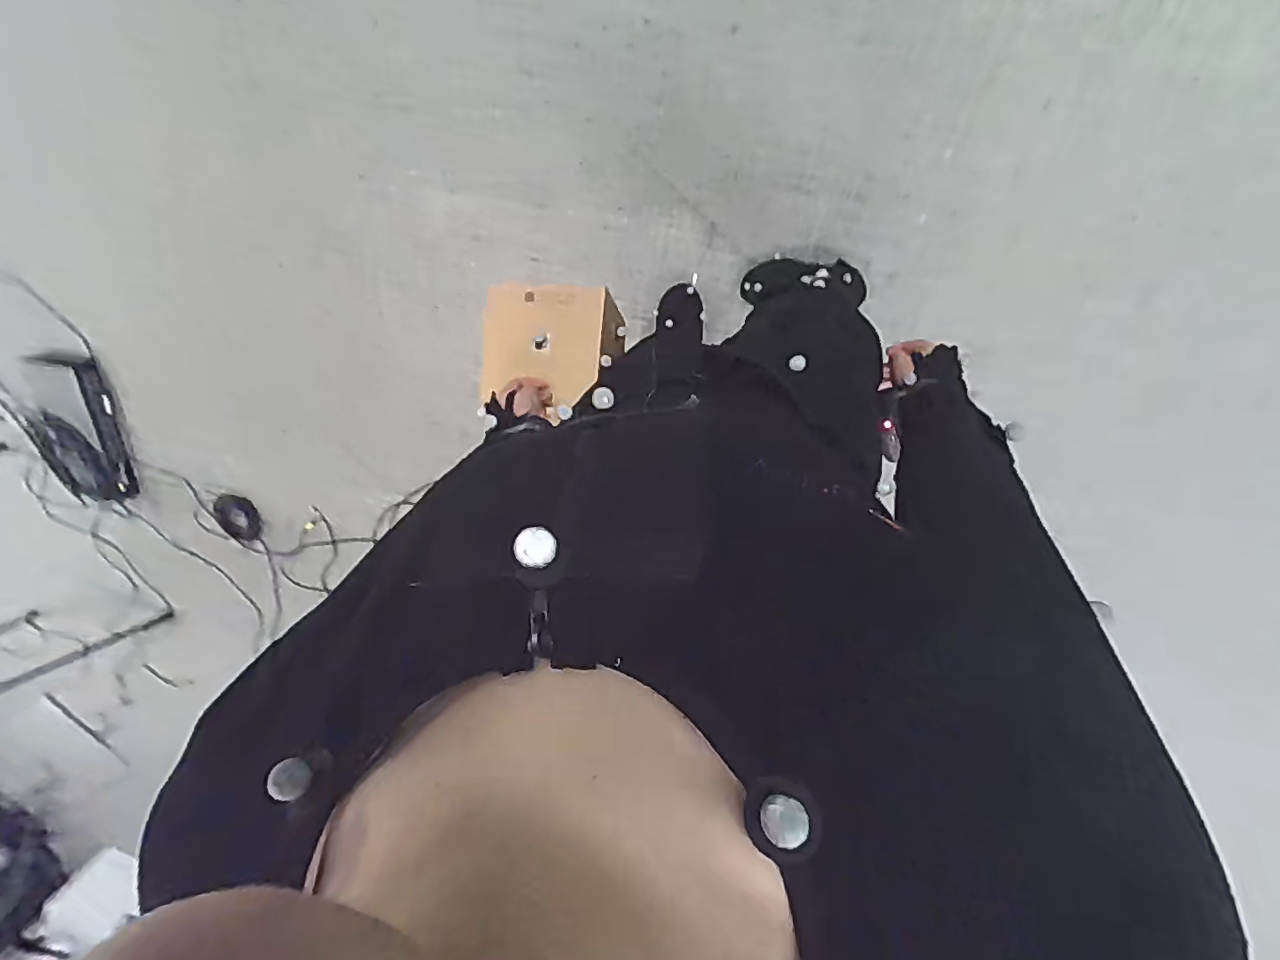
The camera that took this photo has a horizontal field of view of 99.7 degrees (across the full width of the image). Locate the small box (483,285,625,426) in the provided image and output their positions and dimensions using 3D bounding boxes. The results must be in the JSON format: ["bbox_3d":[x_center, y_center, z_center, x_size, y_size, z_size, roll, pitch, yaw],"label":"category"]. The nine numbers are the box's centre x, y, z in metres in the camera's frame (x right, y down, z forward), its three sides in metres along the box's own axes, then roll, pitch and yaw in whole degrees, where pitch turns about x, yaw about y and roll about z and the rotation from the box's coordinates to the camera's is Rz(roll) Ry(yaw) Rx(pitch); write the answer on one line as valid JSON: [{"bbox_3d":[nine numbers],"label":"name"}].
[{"bbox_3d":[-0.120,-0.180,0.812,0.168,0.179,0.176,7,90,6],"label":"small box"}]
